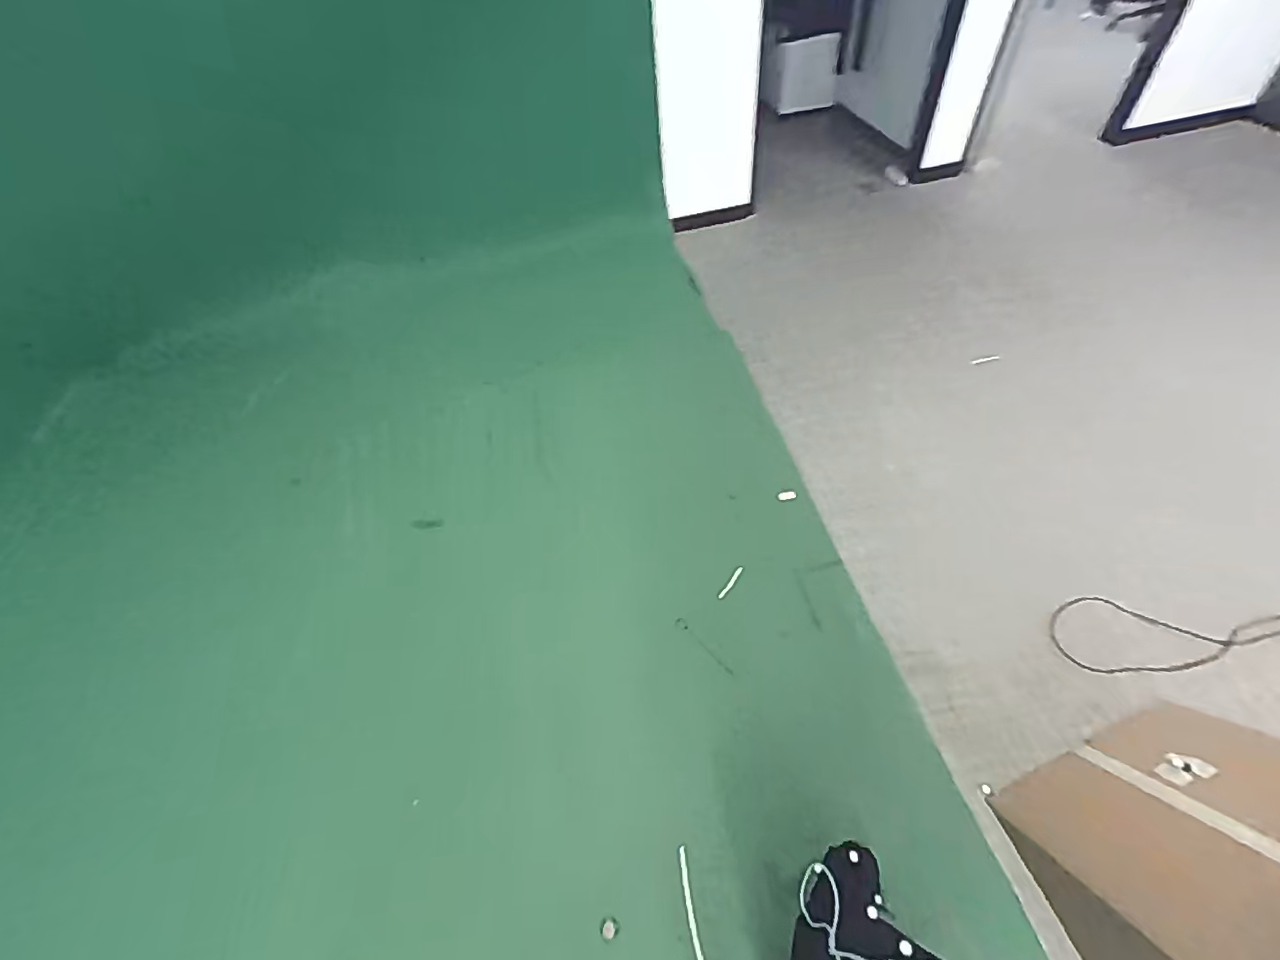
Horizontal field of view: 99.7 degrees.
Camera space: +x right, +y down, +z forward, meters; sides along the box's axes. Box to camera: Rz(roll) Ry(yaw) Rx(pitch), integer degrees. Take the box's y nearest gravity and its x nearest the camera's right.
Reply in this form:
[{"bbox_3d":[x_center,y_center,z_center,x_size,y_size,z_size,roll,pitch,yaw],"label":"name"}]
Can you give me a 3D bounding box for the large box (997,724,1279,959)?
[{"bbox_3d":[0.720,0.538,0.588,0.320,0.408,0.320,-28,81,1],"label":"large box"}]
